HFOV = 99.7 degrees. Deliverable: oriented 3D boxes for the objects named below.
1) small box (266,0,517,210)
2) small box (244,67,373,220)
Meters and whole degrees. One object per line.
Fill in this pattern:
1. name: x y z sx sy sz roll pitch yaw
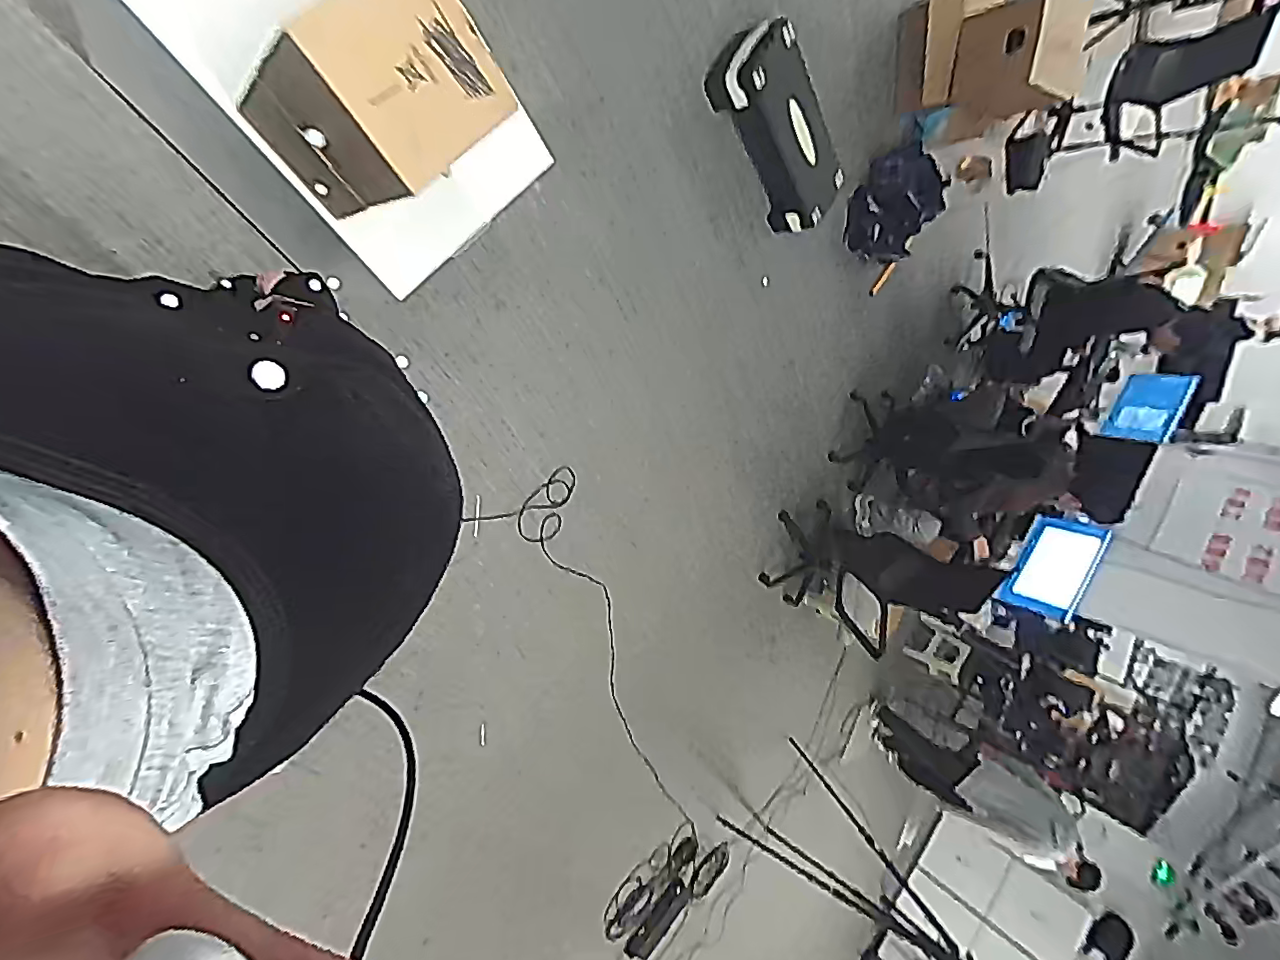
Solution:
1. small box: -0.283 -0.435 0.613 0.179 0.176 0.168 -51 132 -16
2. small box: -0.393 -0.477 0.728 0.179 0.176 0.168 -53 134 -17
